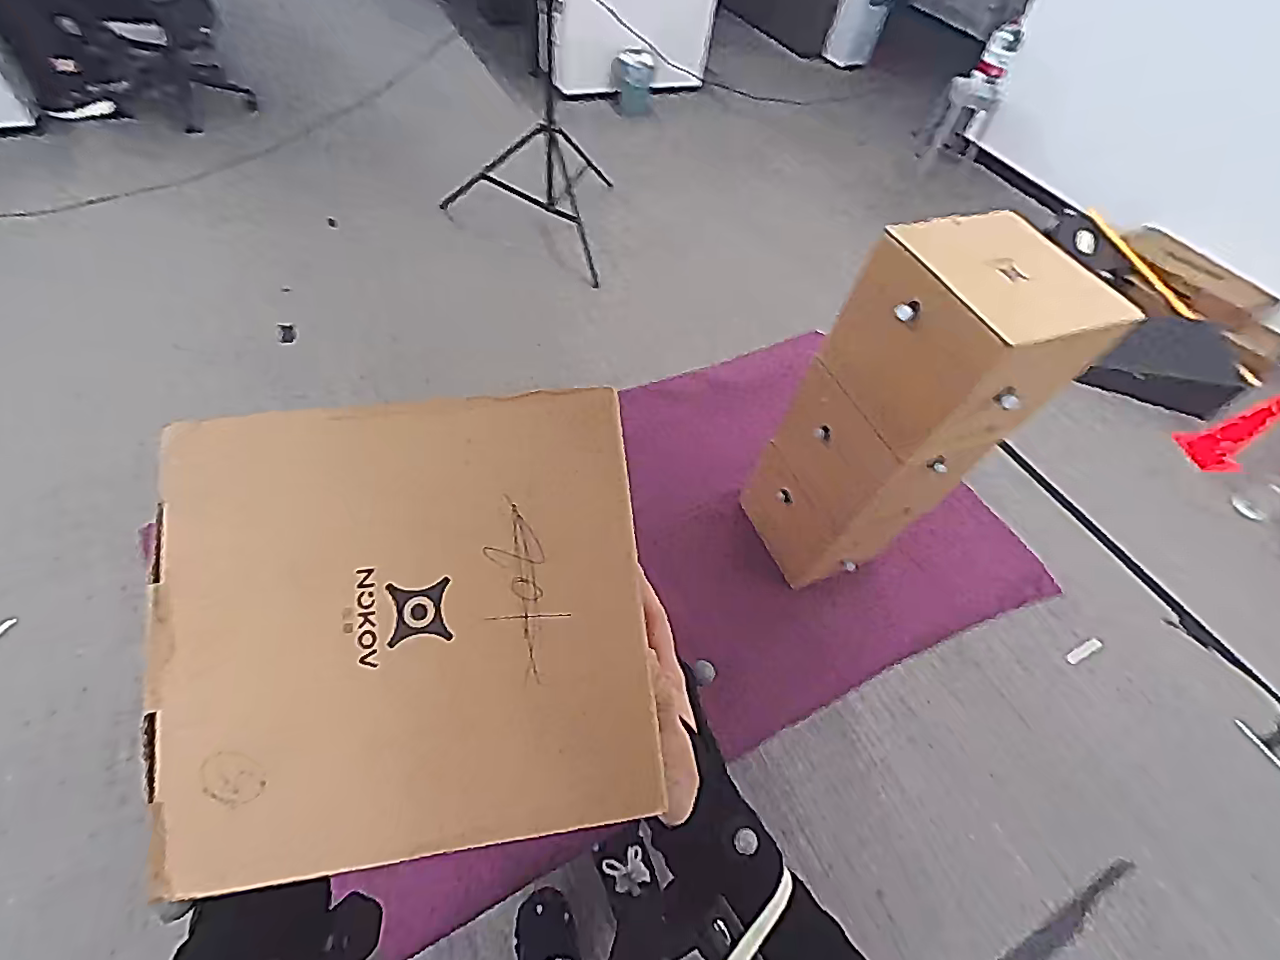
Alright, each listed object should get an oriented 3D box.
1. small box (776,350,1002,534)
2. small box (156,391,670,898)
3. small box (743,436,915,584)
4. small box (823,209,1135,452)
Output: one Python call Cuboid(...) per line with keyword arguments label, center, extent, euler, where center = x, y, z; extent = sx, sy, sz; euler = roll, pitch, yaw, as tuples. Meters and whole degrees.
Cuboid(label="small box", center=(0.303, -0.059, 0.698), extent=(0.168, 0.176, 0.179), euler=(-15, 57, -17))
Cuboid(label="small box", center=(-0.090, 0.065, 0.279), extent=(0.179, 0.176, 0.168), euler=(-6, 80, -8))
Cuboid(label="small box", center=(0.283, 0.031, 0.833), extent=(0.168, 0.176, 0.179), euler=(-17, 59, -18))
Cuboid(label="small box", center=(0.326, -0.148, 0.562), extent=(0.168, 0.176, 0.179), euler=(-15, 58, -17))
